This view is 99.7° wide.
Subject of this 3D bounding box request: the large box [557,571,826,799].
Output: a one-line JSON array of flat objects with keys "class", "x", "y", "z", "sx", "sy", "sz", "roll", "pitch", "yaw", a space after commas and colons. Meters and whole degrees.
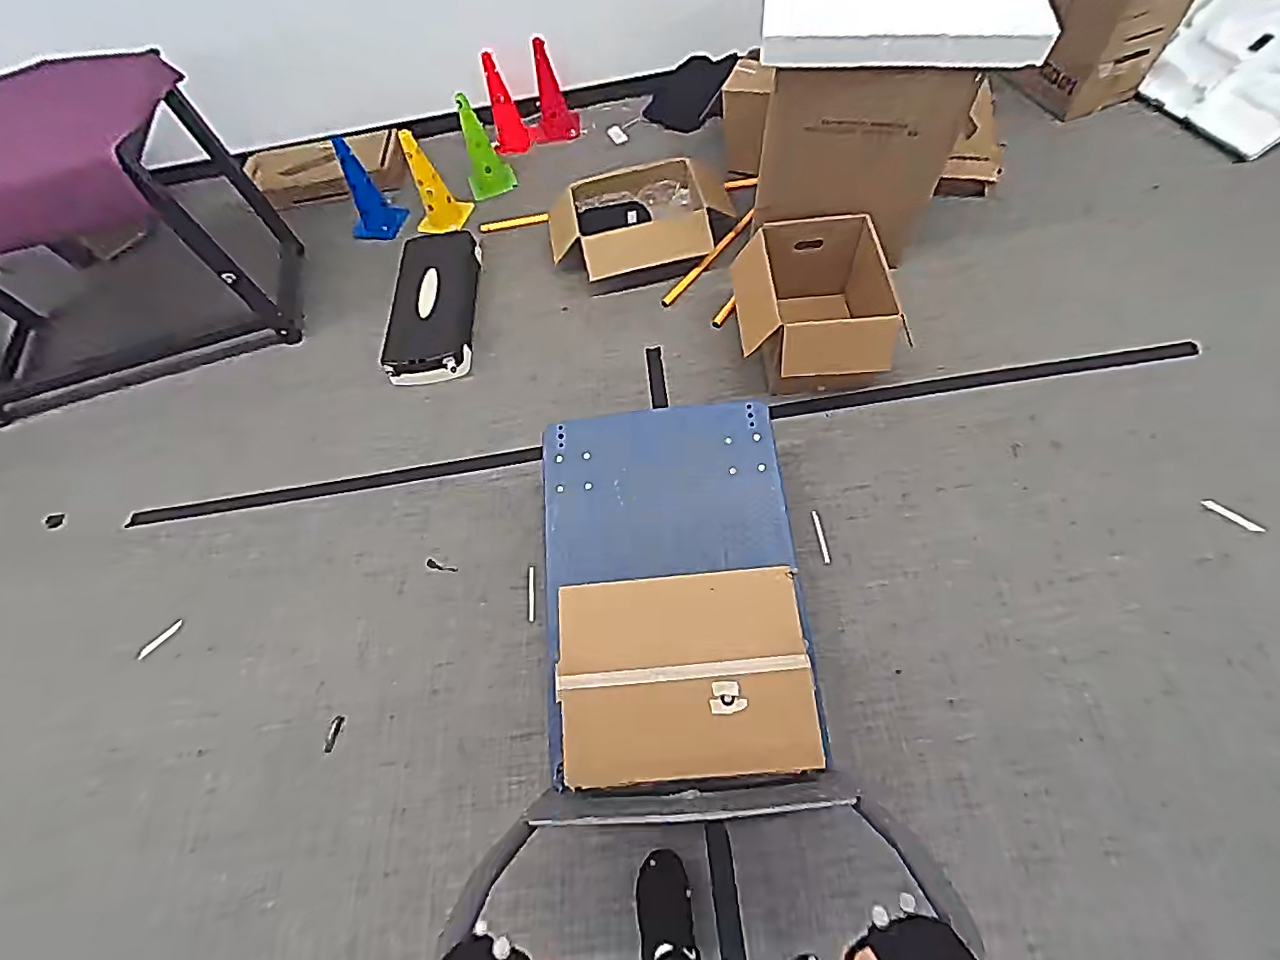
[{"class": "large box", "x": 0.079, "y": 0.370, "z": 1.008, "sx": 0.408, "sy": 0.320, "sz": 0.320, "roll": -6, "pitch": 71, "yaw": 2}]
